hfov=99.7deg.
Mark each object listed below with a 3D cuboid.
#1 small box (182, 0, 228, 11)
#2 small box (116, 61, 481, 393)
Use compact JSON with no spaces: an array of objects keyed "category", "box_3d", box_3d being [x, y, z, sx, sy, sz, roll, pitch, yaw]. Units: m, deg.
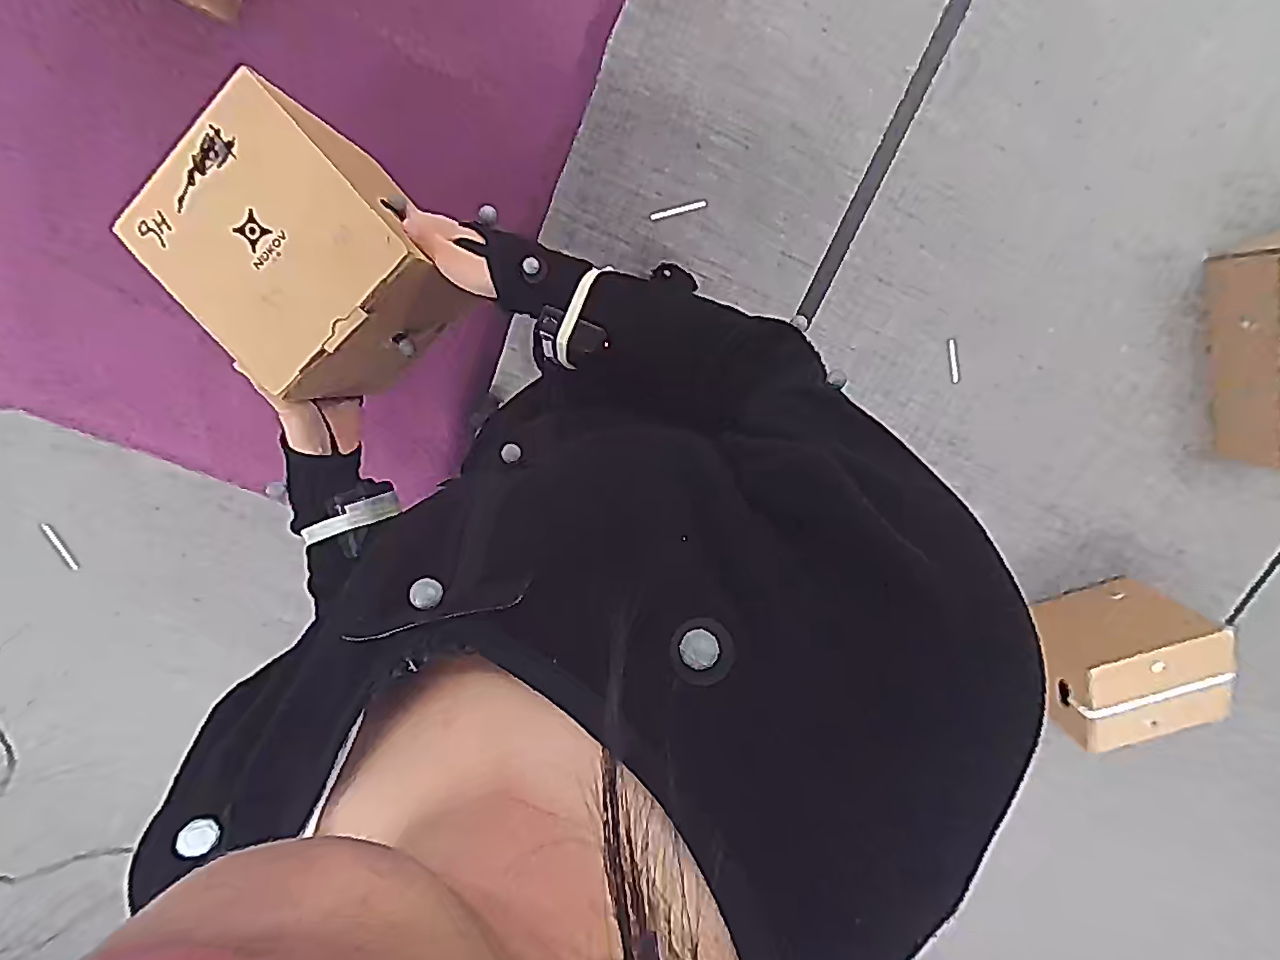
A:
[{"category":"small box","box_3d":[-0.469,-0.561,0.464,0.179,0.176,0.168,21,104,-11]},{"category":"small box","box_3d":[-0.274,-0.199,0.482,0.168,0.176,0.179,-40,97,9]}]
